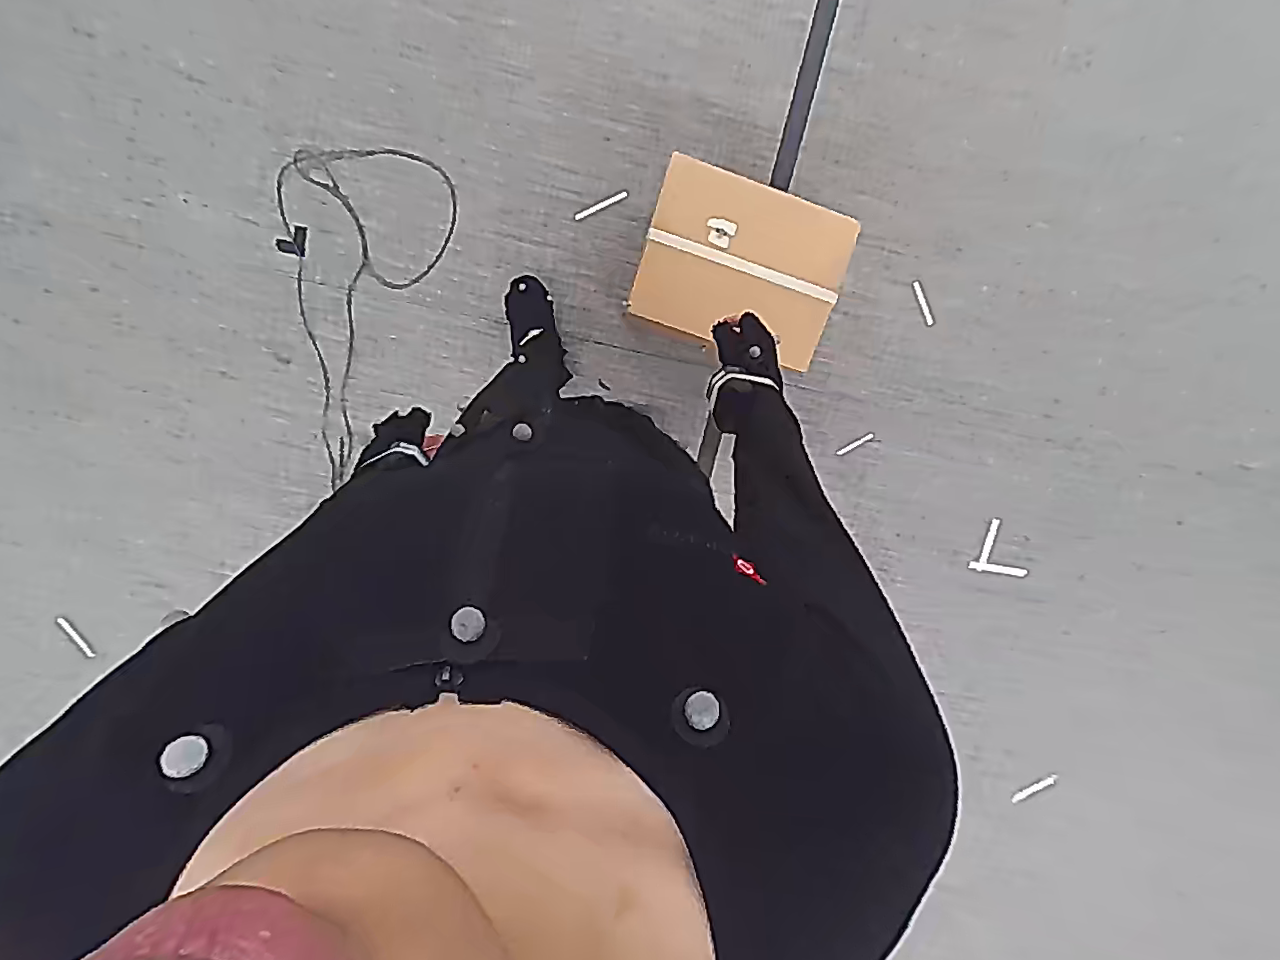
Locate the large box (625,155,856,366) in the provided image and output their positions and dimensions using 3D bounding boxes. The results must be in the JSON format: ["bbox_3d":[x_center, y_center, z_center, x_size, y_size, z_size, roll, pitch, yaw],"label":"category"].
[{"bbox_3d":[0.200,-0.470,1.239,0.408,0.320,0.320,17,101,-6],"label":"large box"}]
